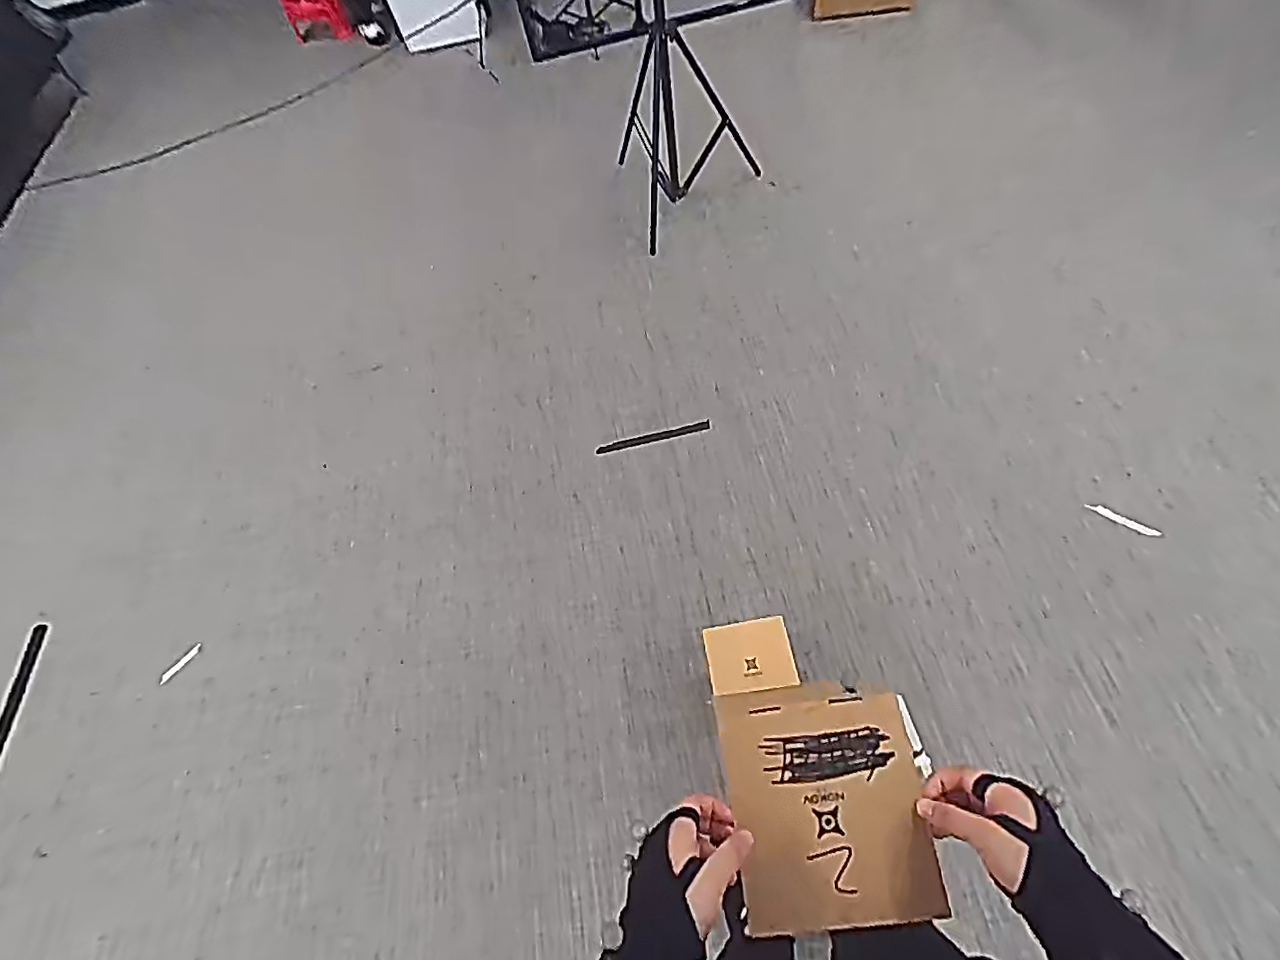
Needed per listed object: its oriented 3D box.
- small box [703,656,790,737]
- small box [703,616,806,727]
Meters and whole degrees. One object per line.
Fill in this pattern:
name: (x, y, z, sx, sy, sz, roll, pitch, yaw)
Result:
small box: (0.255, 0.475, 1.247, 0.168, 0.176, 0.179, -22, 62, -2)
small box: (0.225, 0.396, 1.107, 0.168, 0.176, 0.179, -11, 62, 3)
